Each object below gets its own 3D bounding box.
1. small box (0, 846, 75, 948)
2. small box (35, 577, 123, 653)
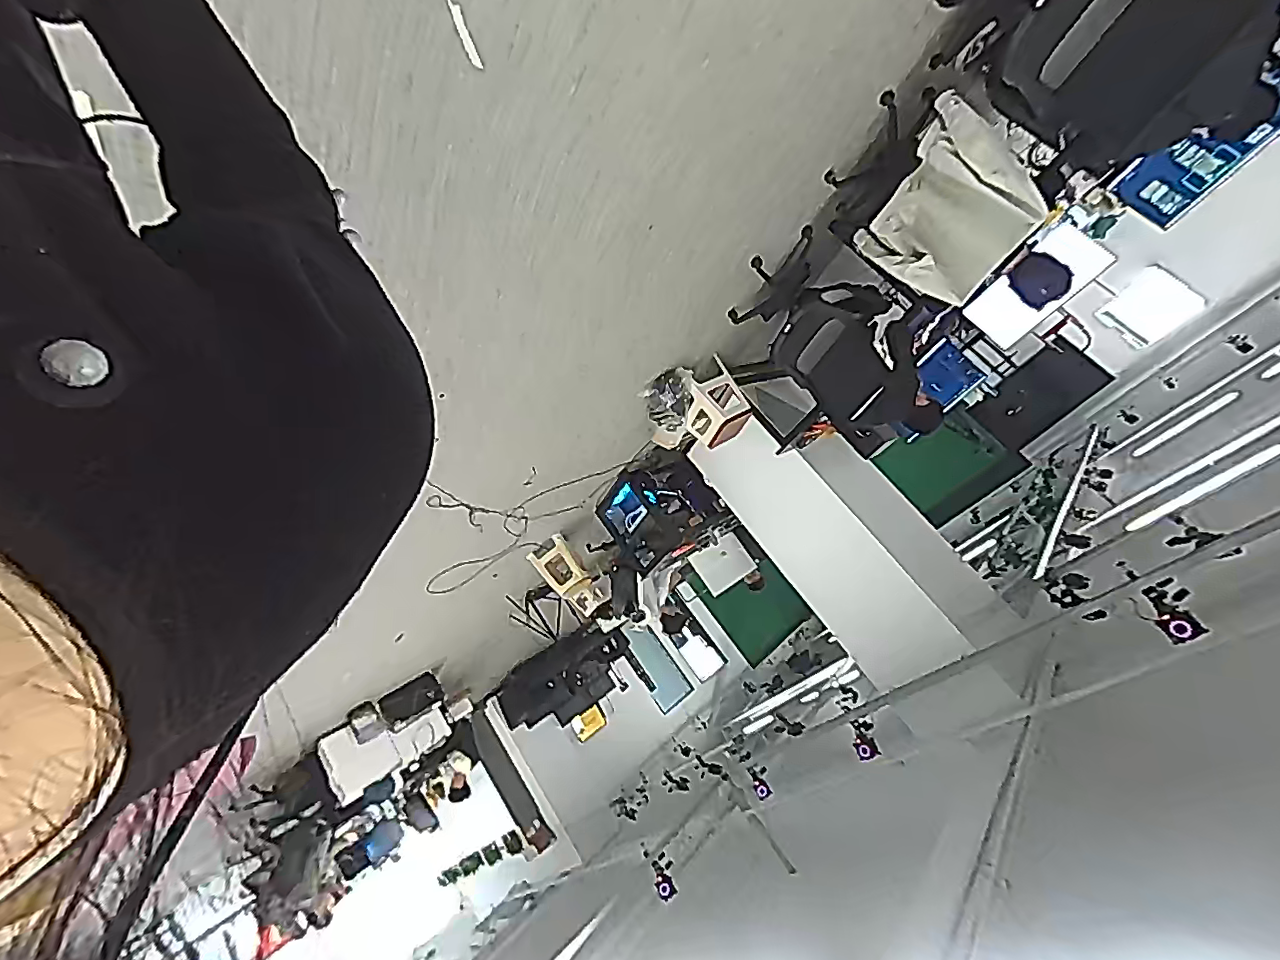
[{"bbox_3d":[-1.750,1.178,1.530,0.168,0.176,0.179,-18,156,-46],"label":"small box"},{"bbox_3d":[-1.903,0.449,1.836,0.168,0.176,0.179,-20,156,-46],"label":"small box"}]
